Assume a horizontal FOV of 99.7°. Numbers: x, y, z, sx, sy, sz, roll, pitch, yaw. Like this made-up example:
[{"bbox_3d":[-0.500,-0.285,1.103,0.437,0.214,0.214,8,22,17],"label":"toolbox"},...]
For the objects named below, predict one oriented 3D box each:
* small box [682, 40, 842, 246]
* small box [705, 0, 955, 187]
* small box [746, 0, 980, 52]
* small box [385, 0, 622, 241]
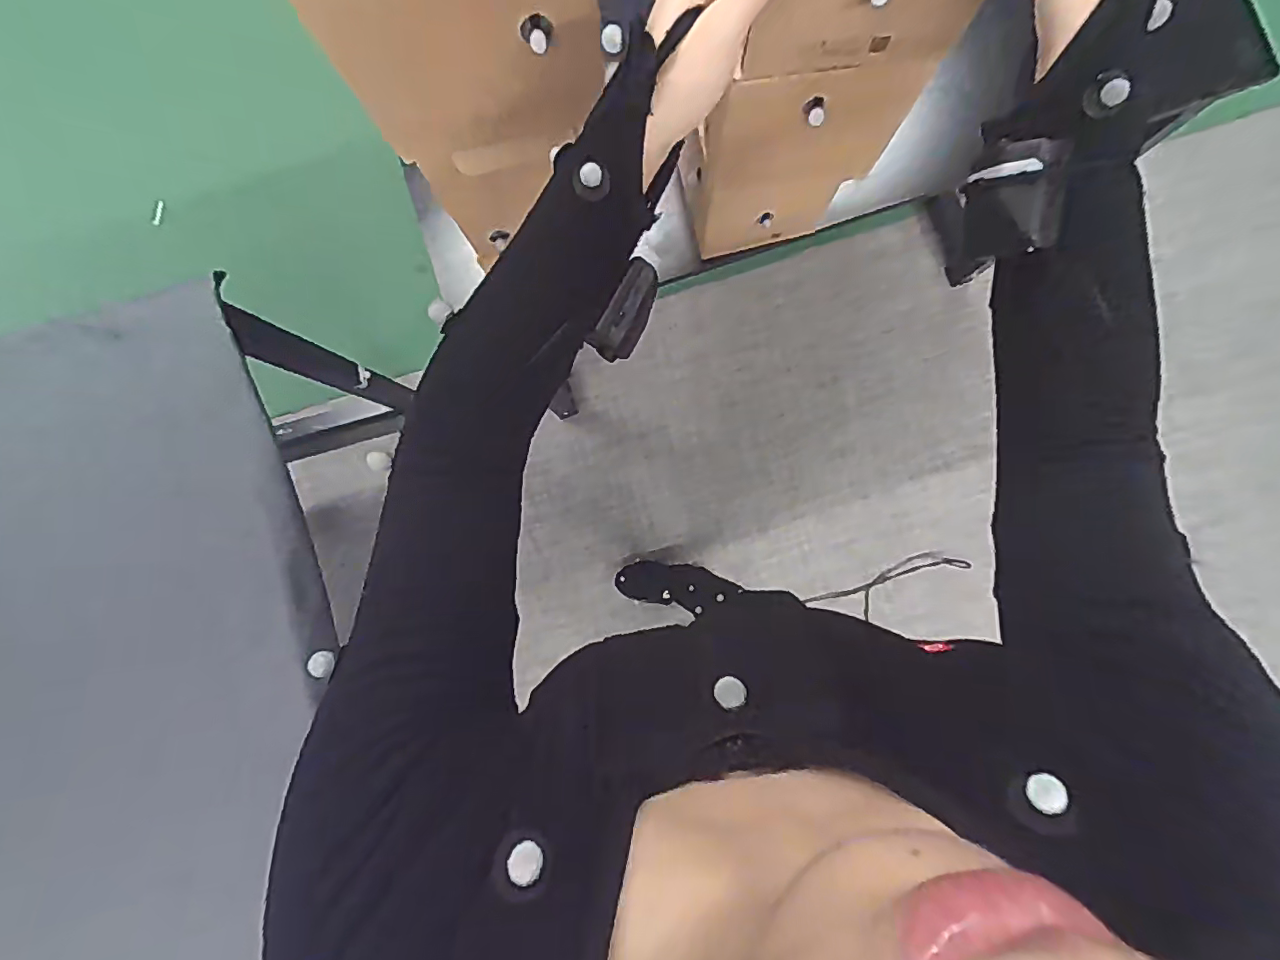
[{"bbox_3d":[0.151,-0.419,0.681,0.168,0.176,0.179,-13,87,1],"label":"small box"},{"bbox_3d":[0.162,-0.410,0.517,0.179,0.176,0.168,-5,88,2],"label":"small box"},{"bbox_3d":[0.162,-0.421,0.353,0.168,0.176,0.179,-2,89,3],"label":"small box"},{"bbox_3d":[-0.117,-0.357,0.524,0.168,0.176,0.179,-14,85,1],"label":"small box"}]
